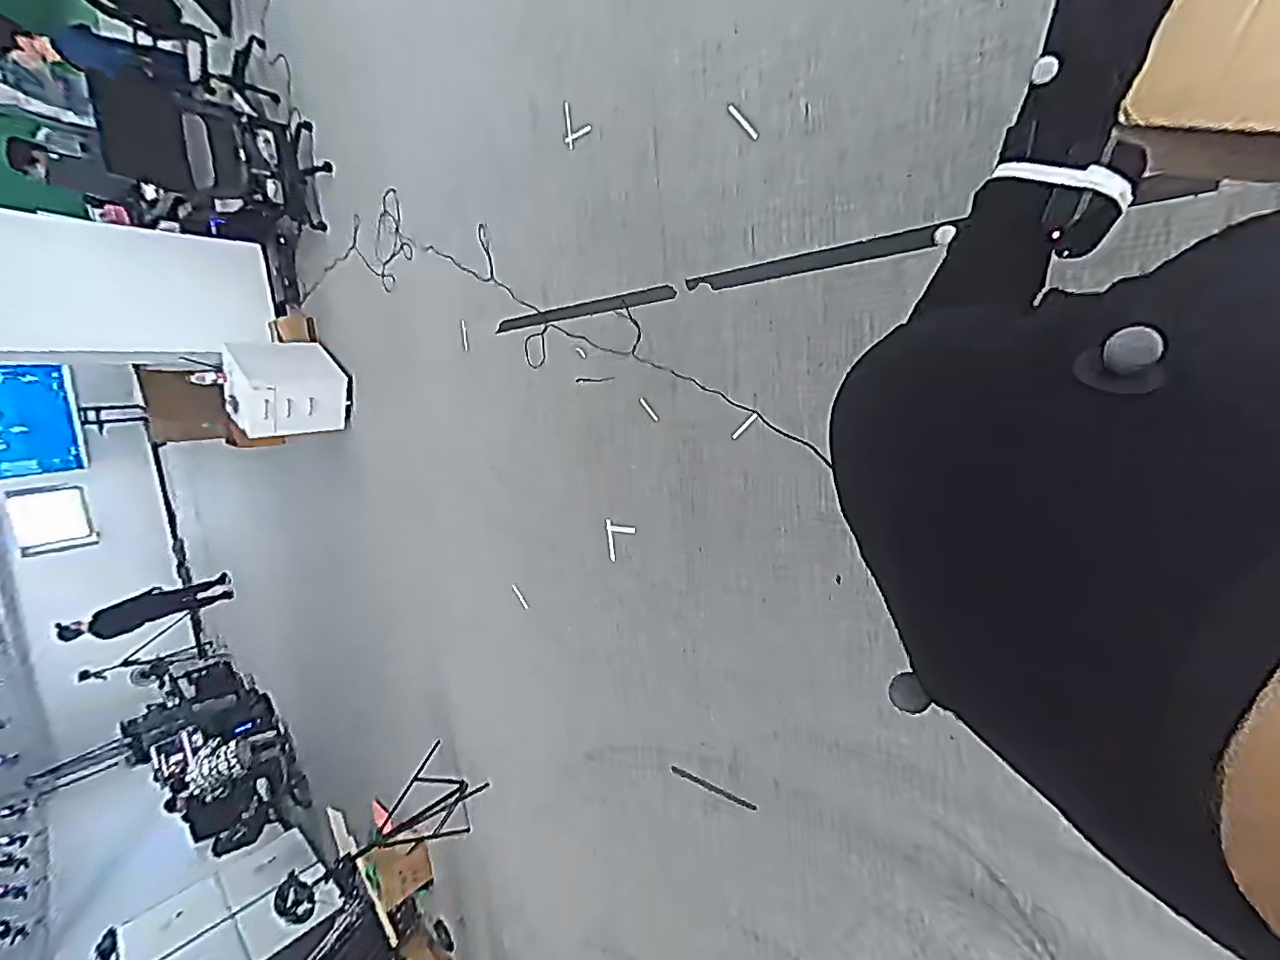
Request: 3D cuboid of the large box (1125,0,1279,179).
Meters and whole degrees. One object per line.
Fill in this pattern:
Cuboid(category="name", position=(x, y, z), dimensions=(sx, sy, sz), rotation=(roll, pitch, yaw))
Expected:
Cuboid(category="large box", position=(0.616, -0.365, 0.327), dimensions=(0.408, 0.320, 0.320), rotation=(28, 126, 32))
